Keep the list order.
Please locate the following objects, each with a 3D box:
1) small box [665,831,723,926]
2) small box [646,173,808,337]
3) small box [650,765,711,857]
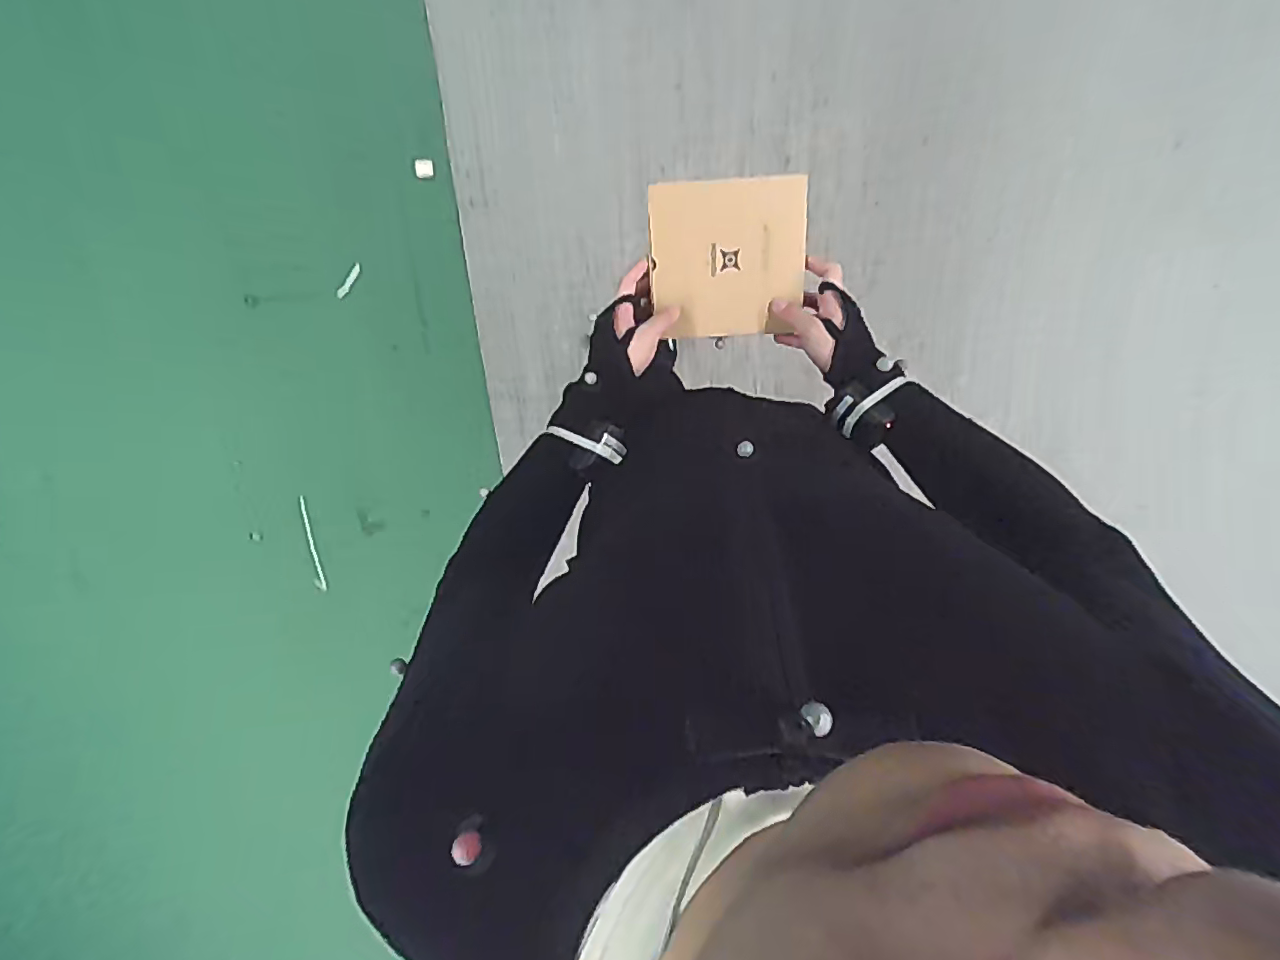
[{"bbox_3d":[0.165,1.225,1.669,0.168,0.176,0.179,-5,103,3],"label":"small box"},{"bbox_3d":[0.101,-0.269,0.682,0.179,0.176,0.168,-2,105,3],"label":"small box"},{"bbox_3d":[0.117,0.973,1.604,0.168,0.176,0.179,-4,104,3],"label":"small box"}]
